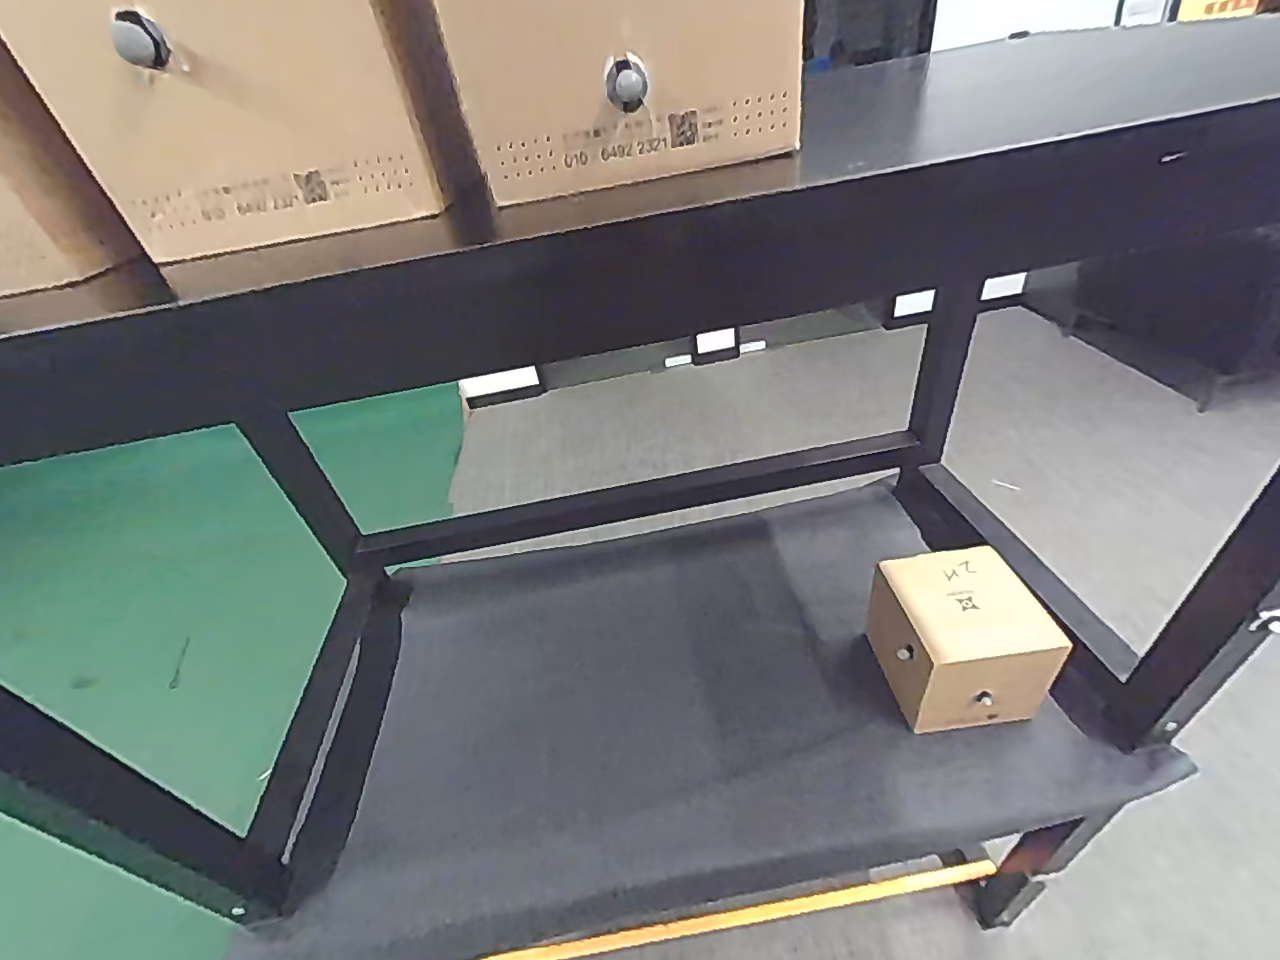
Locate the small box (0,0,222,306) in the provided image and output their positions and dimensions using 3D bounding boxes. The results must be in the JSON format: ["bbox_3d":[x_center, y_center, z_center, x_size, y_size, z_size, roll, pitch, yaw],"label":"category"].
[{"bbox_3d":[-0.400,-0.206,0.316,0.168,0.176,0.179,-10,38,1],"label":"small box"}]

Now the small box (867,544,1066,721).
[{"bbox_3d":[0.440,0.220,0.765,0.168,0.176,0.179,-8,37,2],"label":"small box"}]
